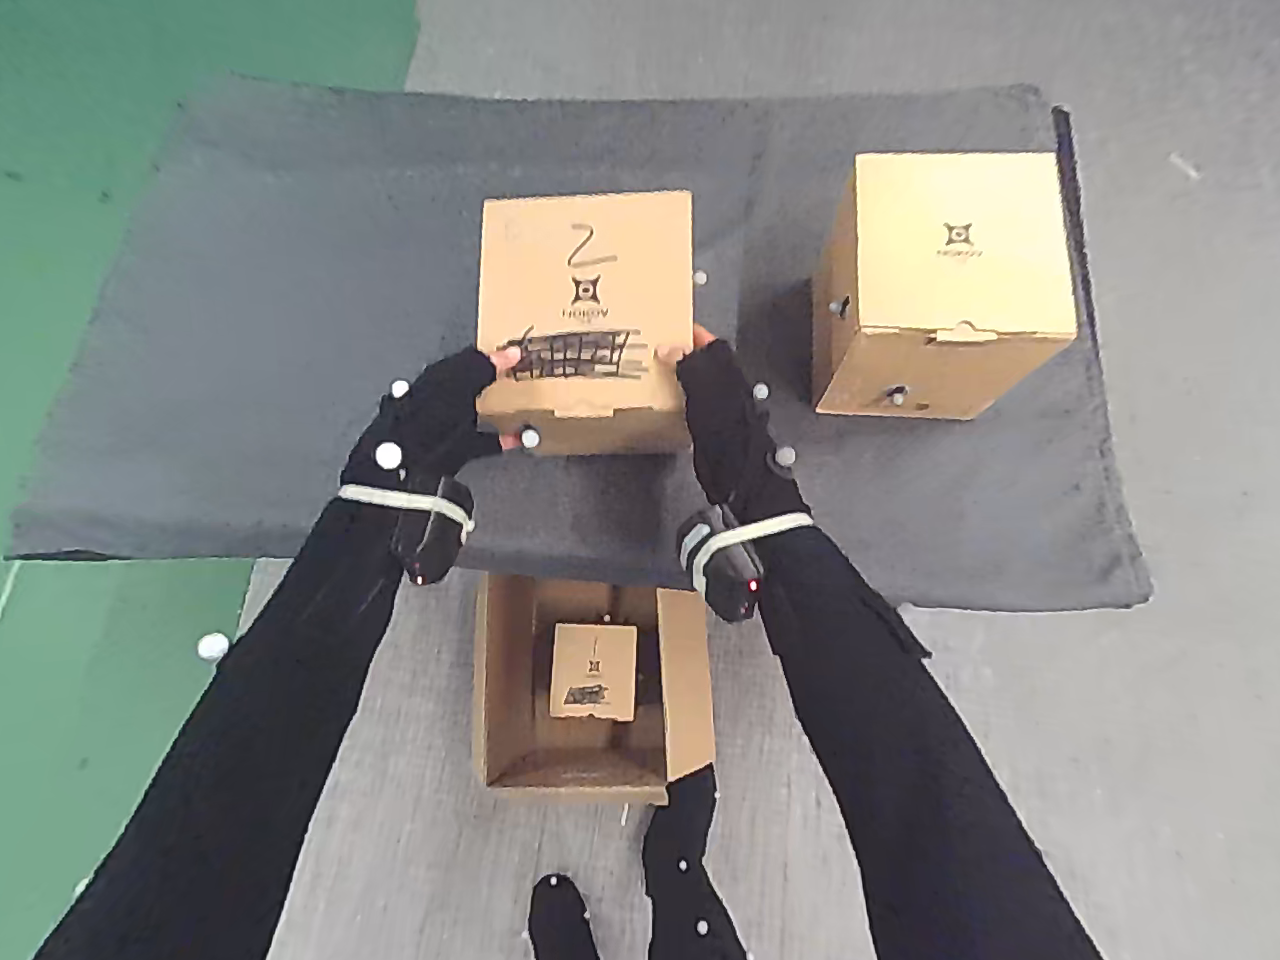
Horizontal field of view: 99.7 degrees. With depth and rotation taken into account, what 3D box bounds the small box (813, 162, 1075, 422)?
[{"bbox_3d":[0.268,-0.172,0.524,0.168,0.176,0.179,3,75,6],"label":"small box"}]
